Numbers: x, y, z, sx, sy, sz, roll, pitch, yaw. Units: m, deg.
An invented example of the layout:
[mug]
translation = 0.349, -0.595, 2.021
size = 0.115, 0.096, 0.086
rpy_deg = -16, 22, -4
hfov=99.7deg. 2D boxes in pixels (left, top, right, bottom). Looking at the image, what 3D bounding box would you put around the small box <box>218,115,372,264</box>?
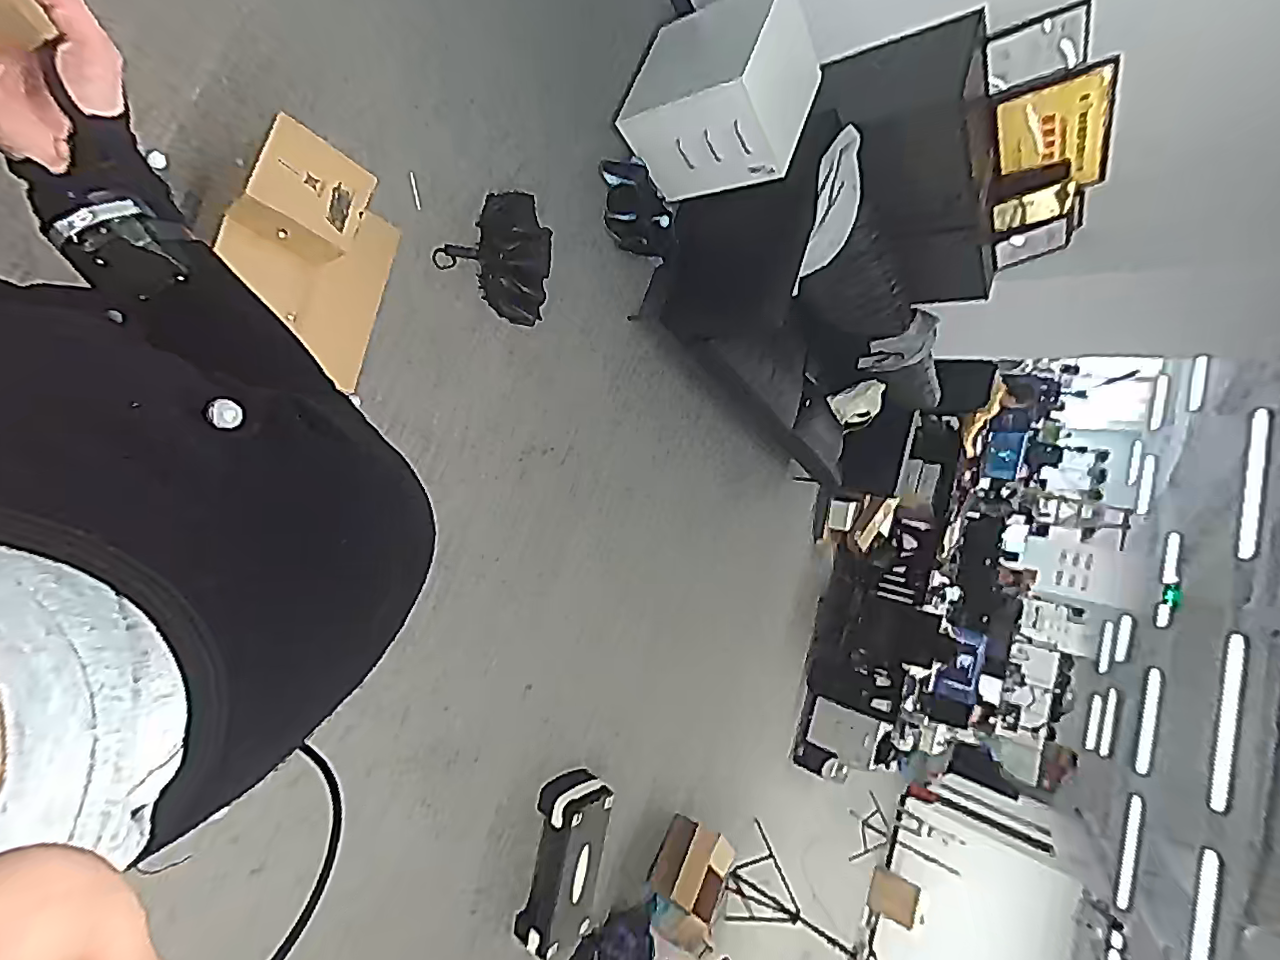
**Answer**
[small box]
translation = -0.647, -0.528, 1.015
size = 0.179, 0.176, 0.168
rpy_deg = 24, 78, -47
